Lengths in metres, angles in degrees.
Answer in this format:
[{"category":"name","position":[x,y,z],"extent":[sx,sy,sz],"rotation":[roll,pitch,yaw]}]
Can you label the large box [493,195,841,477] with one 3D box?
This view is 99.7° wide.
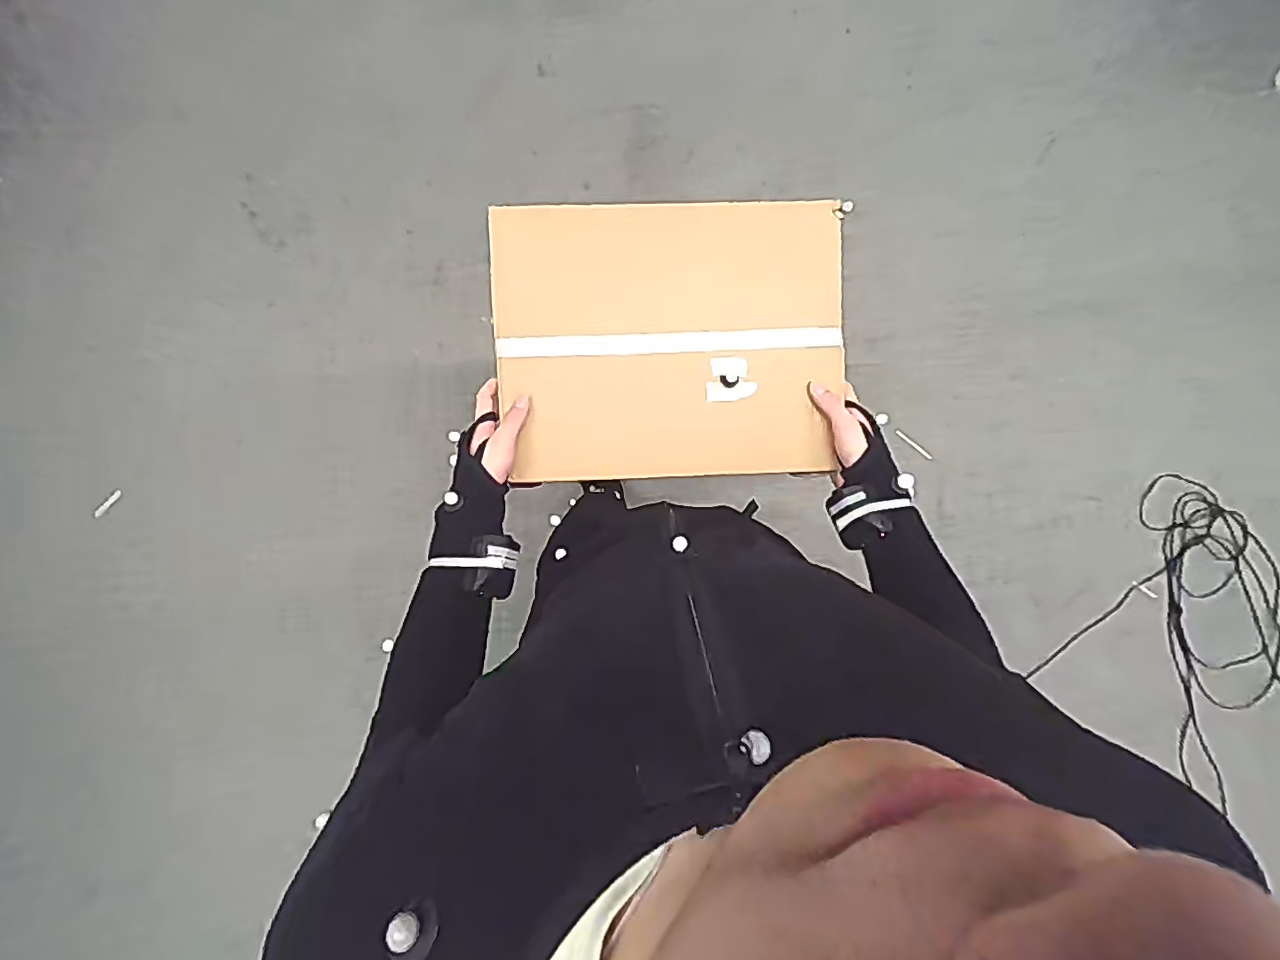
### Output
[{"category":"large box","position":[0.029,-0.180,0.782],"extent":[0.408,0.320,0.320],"rotation":[-3,95,-3]}]
